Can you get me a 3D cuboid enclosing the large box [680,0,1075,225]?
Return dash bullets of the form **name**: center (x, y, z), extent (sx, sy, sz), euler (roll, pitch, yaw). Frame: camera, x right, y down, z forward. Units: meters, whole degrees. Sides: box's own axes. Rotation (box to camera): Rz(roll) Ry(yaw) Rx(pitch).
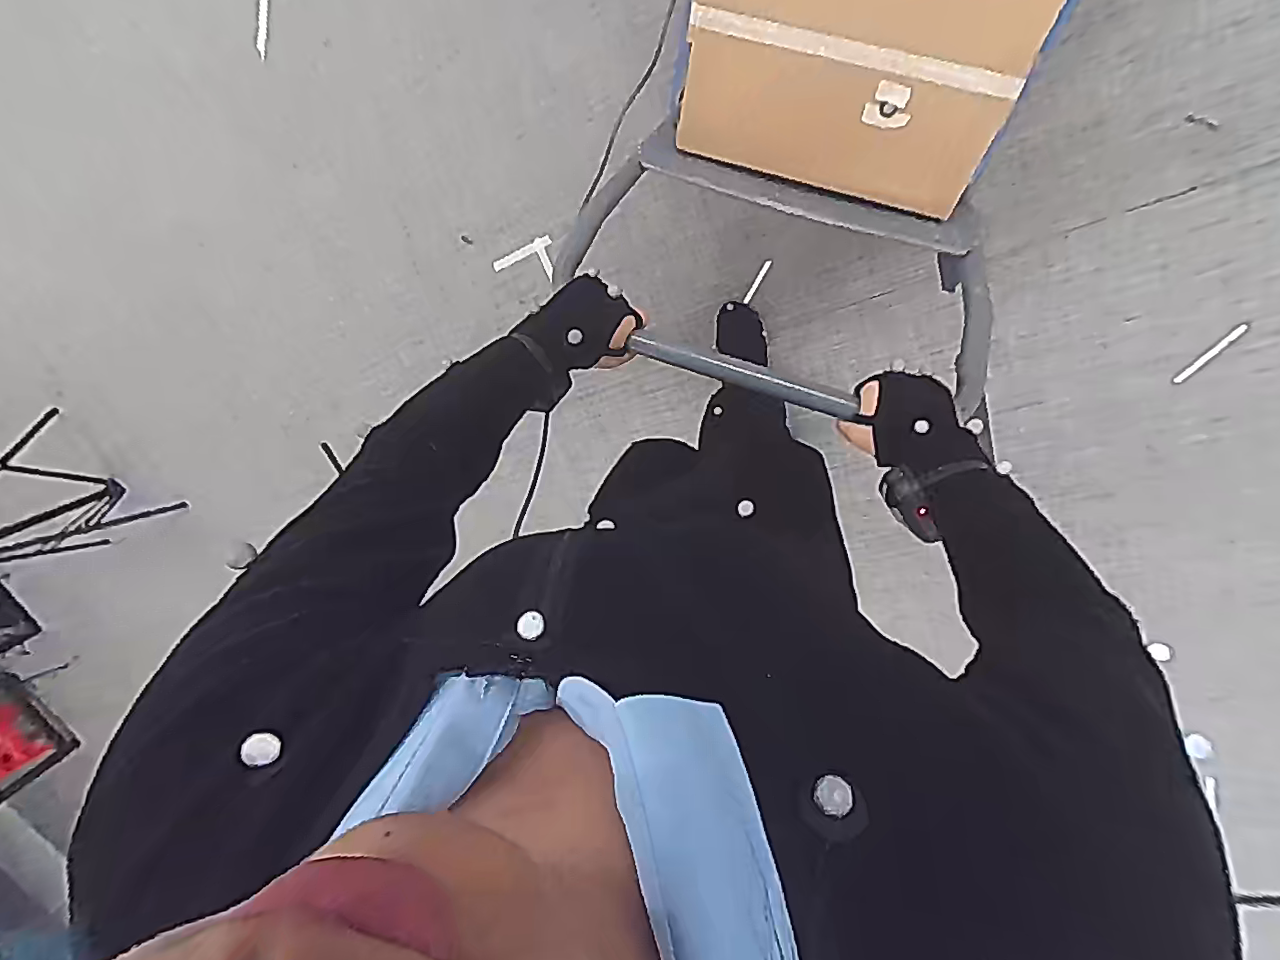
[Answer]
- **large box**: center (0.305, -0.613, 0.759), extent (0.408, 0.320, 0.320), euler (18, 138, 5)
